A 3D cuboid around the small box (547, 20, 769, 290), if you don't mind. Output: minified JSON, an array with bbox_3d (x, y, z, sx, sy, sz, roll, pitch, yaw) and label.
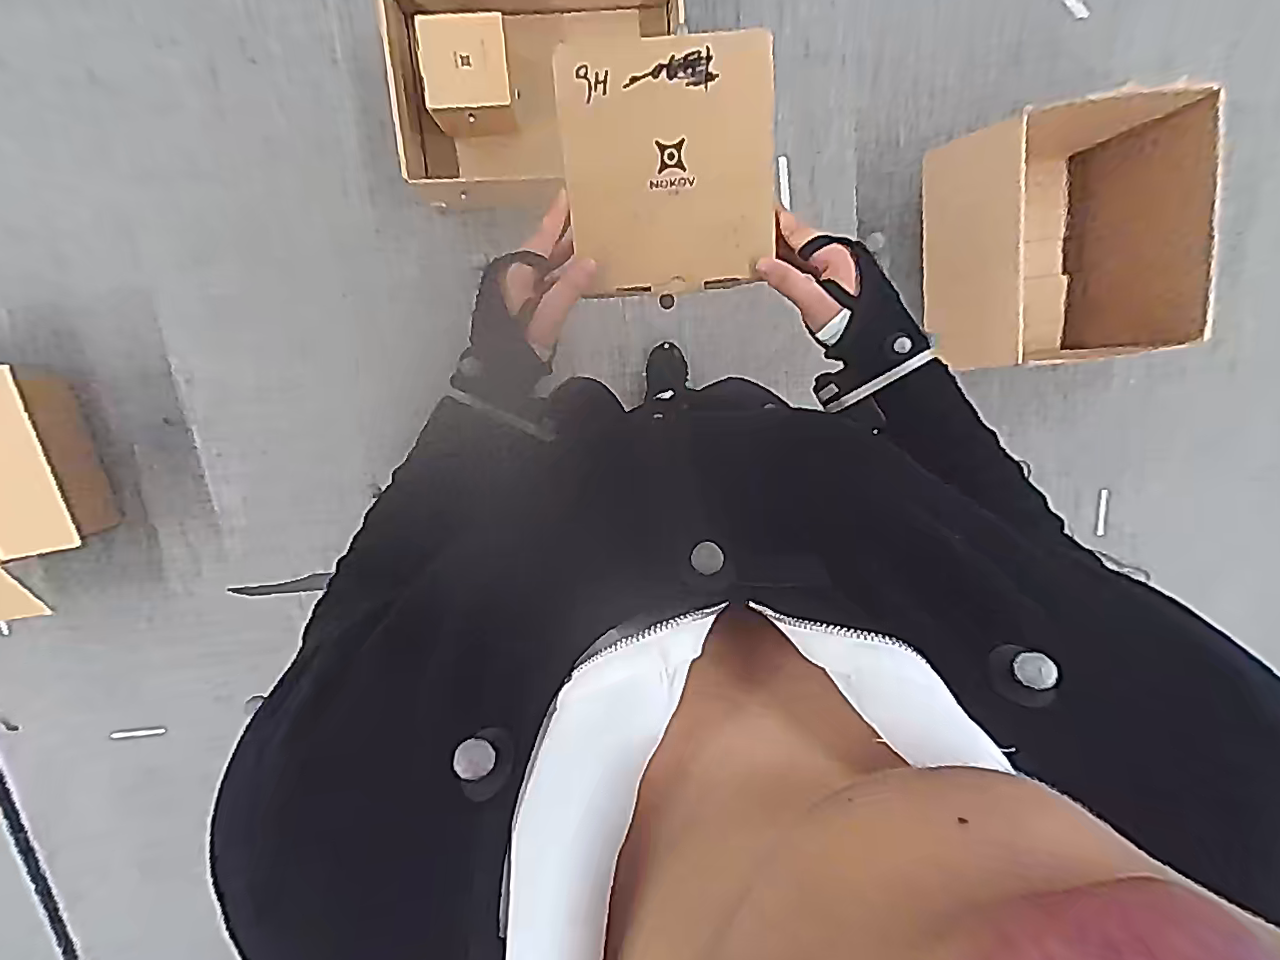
[{"bbox_3d":[0.015,-0.273,0.495,0.168,0.176,0.179,-6,109,-2],"label":"small box"}]

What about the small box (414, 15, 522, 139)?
[{"bbox_3d":[-0.362,-0.862,1.171,0.179,0.176,0.168,-5,104,-3],"label":"small box"}]
